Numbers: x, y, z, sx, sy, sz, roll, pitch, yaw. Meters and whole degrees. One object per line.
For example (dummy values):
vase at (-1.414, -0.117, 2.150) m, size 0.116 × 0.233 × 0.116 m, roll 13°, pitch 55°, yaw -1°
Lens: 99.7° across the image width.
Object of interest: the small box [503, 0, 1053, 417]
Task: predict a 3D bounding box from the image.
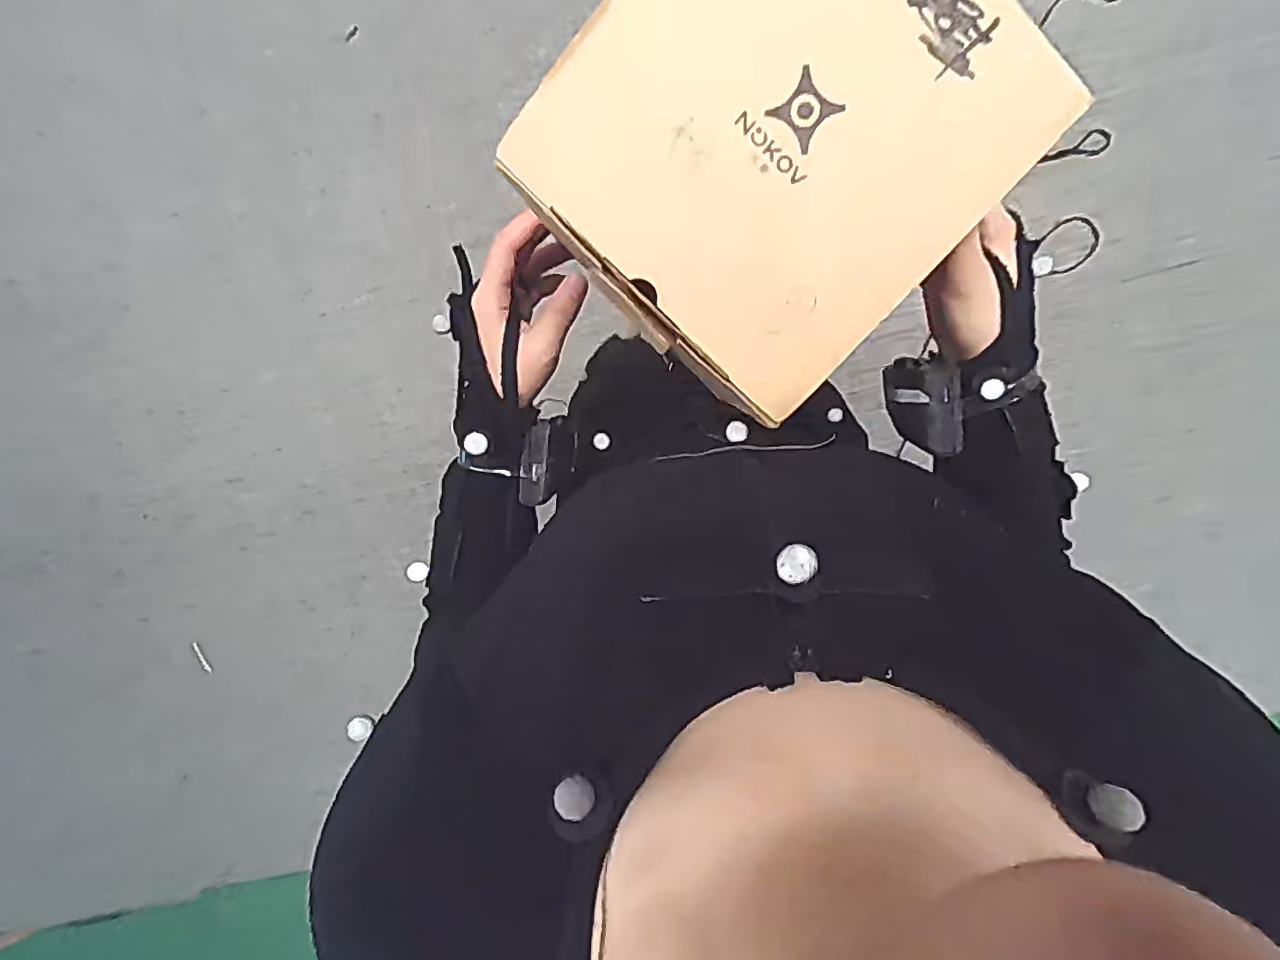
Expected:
small box at (0.058, -0.159, 0.307) m, size 0.168 × 0.176 × 0.179 m, roll 42°, pitch 100°, yaw -7°
